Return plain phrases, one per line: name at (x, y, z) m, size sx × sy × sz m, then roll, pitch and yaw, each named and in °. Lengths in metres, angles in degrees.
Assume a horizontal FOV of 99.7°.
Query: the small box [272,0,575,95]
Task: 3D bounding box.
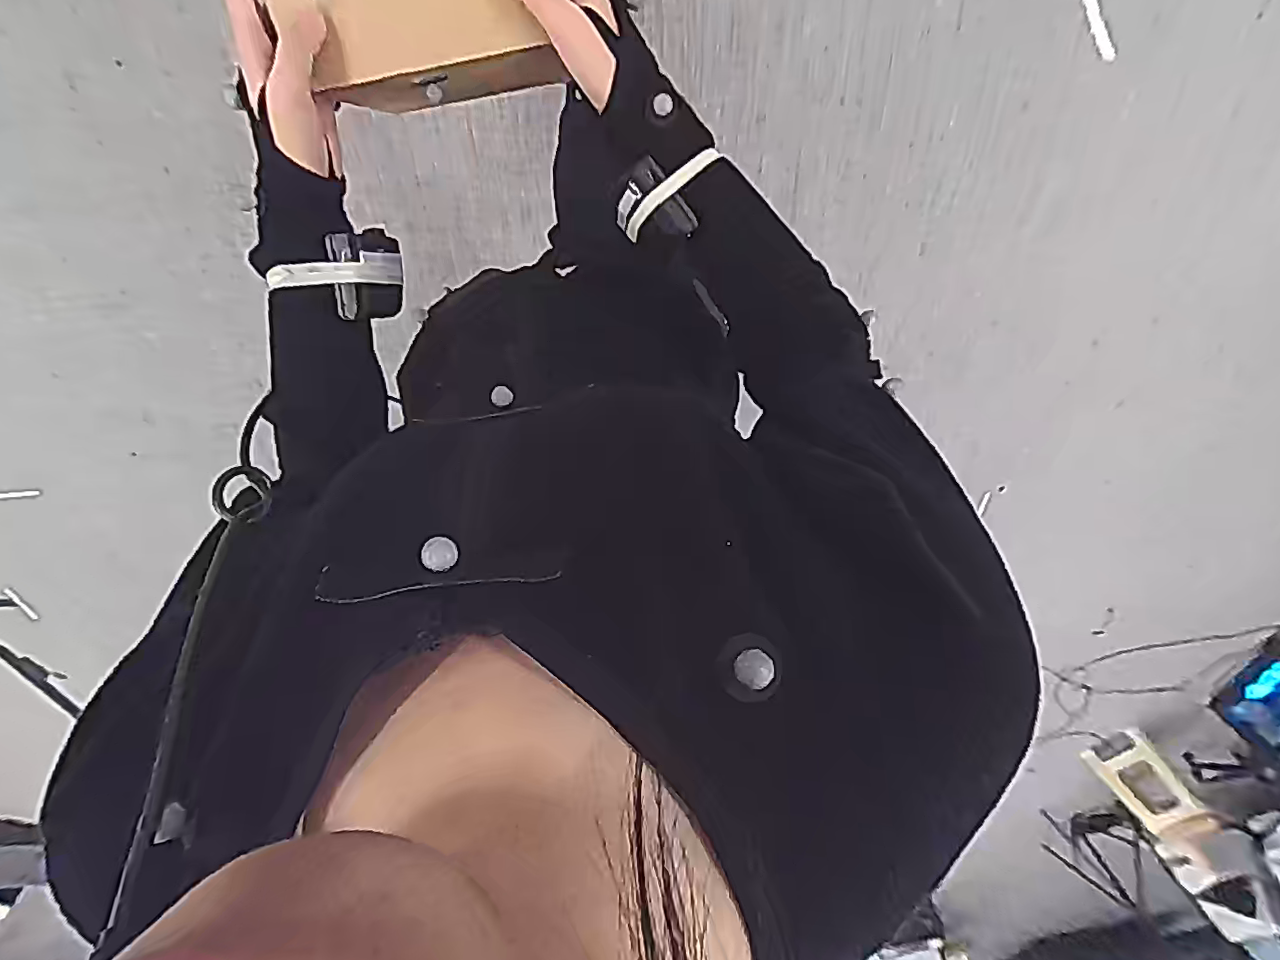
small box at (-0.152, -0.387, 0.375) m, size 0.179 × 0.176 × 0.168 m, roll -10°, pitch 121°, yaw 4°
